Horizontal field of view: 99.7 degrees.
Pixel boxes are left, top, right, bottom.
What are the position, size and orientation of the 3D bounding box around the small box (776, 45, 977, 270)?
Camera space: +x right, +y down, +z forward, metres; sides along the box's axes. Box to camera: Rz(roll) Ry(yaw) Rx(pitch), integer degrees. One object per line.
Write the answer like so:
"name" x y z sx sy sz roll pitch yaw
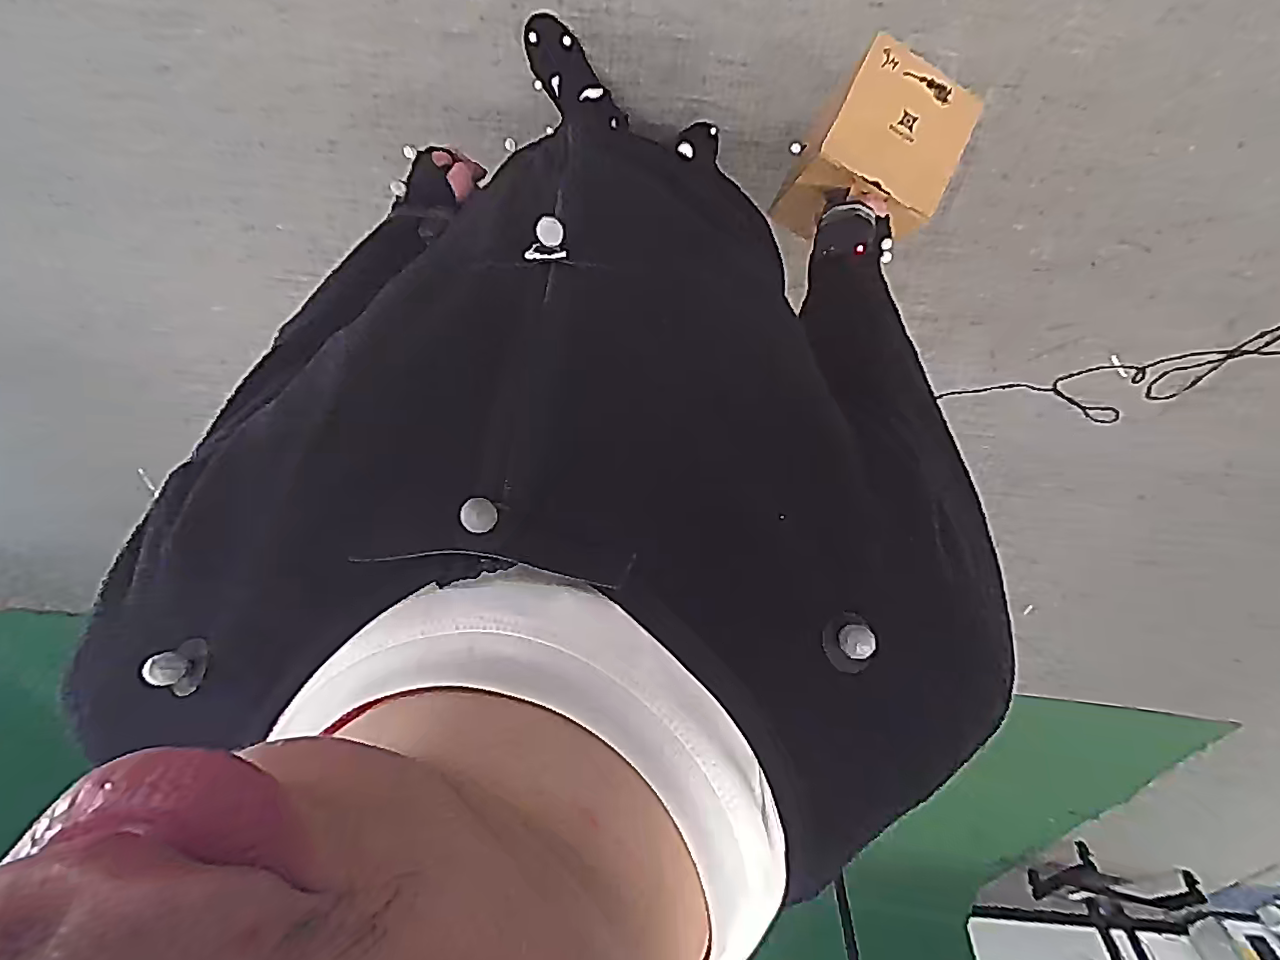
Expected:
"small box" 0.312 -0.429 0.755 0.168 0.176 0.179 26 86 -6
